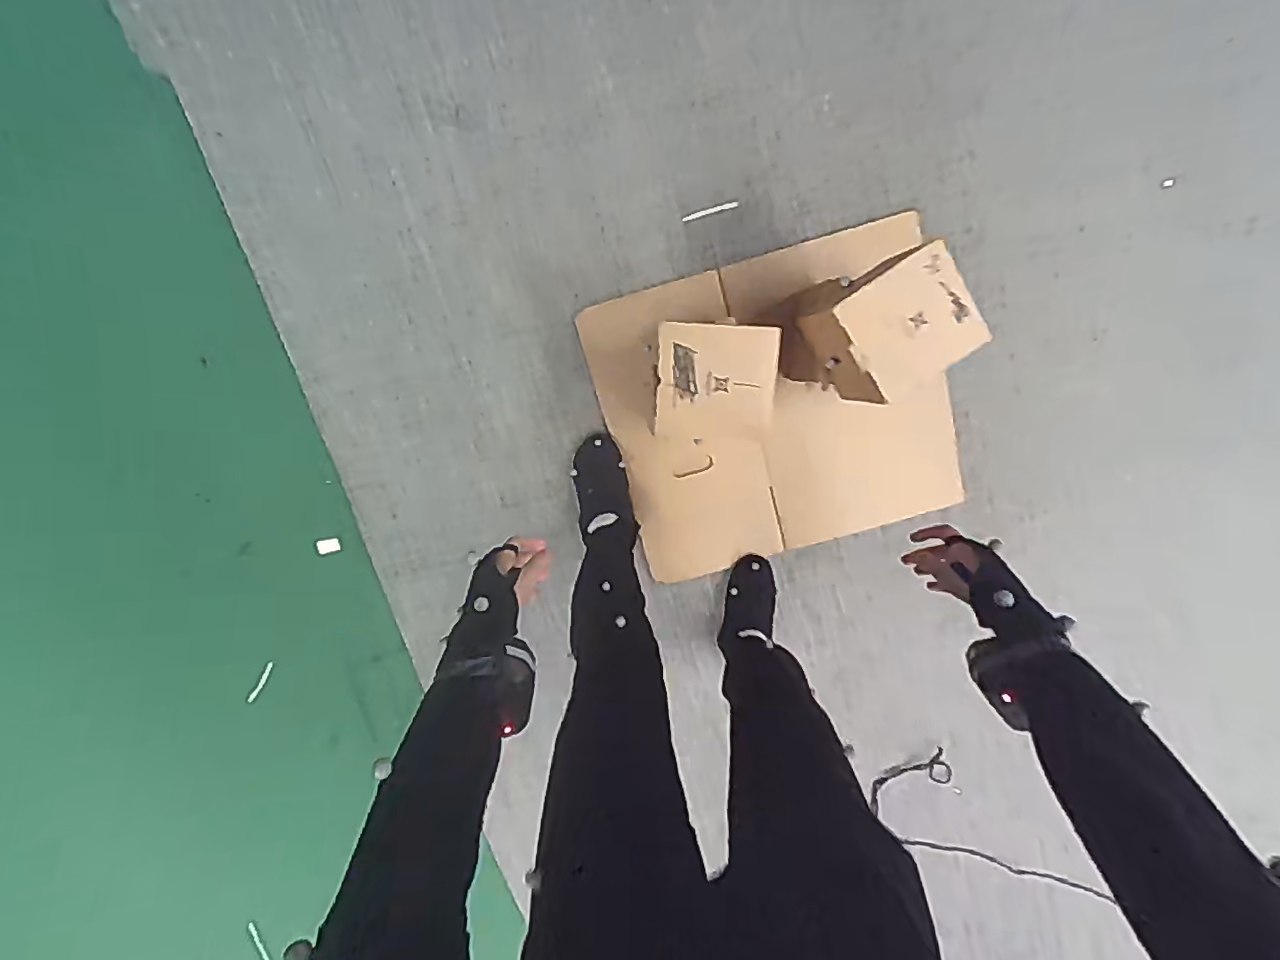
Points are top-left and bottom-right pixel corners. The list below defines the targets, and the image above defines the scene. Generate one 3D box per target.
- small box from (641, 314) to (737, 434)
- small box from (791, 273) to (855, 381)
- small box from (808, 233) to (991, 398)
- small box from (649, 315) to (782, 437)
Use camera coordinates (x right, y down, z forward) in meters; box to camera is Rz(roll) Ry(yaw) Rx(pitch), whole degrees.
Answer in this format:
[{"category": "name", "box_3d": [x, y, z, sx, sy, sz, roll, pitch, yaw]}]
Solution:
[{"category": "small box", "box_3d": [0.101, -0.198, 1.011, 0.168, 0.176, 0.179, -15, 102, 1]}, {"category": "small box", "box_3d": [0.390, -0.273, 1.001, 0.168, 0.176, 0.179, 3, 102, -2]}, {"category": "small box", "box_3d": [0.383, -0.244, 0.840, 0.179, 0.176, 0.168, -33, 101, 6]}, {"category": "small box", "box_3d": [0.107, -0.161, 0.851, 0.179, 0.176, 0.168, 2, 101, -3]}]
